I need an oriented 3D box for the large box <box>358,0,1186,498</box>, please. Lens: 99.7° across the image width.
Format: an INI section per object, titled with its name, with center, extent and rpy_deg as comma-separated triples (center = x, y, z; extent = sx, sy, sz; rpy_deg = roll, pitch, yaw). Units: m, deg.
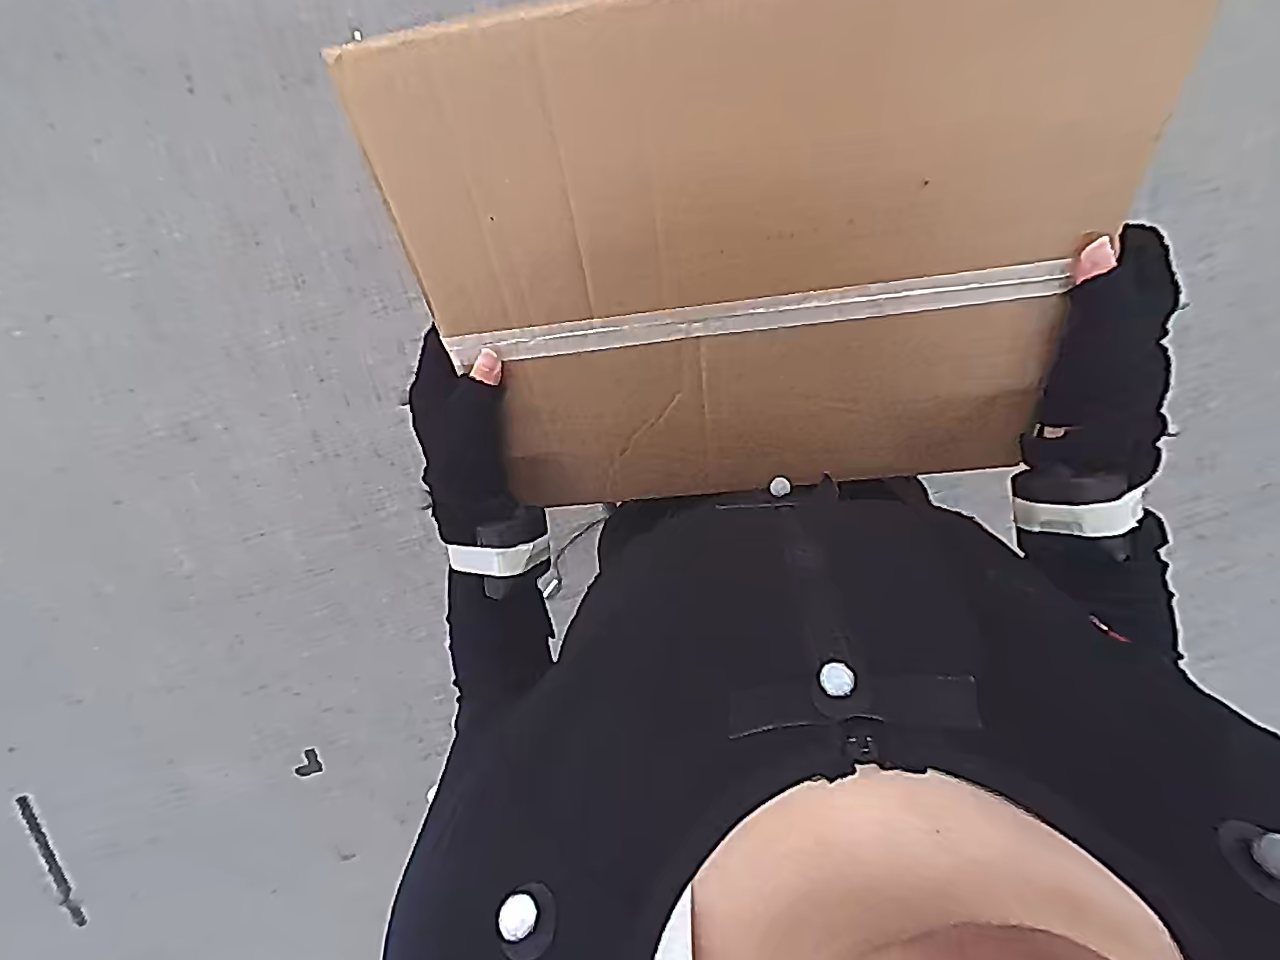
[large box]
center = 0.074, -0.216, 0.460
extent = 0.408, 0.320, 0.320
rpy_deg = -5, 133, 6
